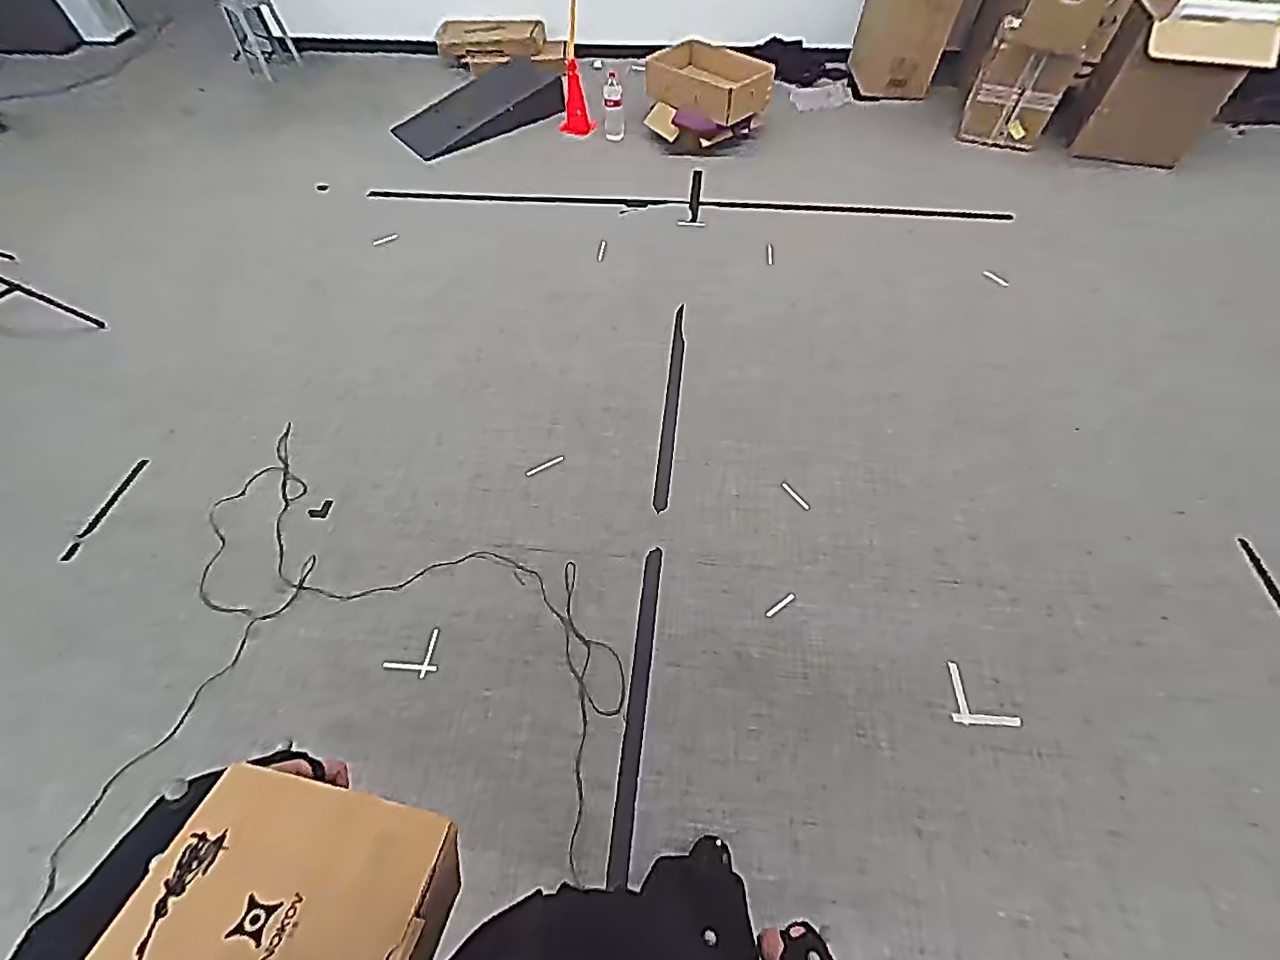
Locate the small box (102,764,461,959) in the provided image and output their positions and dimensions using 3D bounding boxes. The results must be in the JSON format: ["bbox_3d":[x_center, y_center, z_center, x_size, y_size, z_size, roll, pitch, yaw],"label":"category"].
[{"bbox_3d":[-0.248,0.347,0.400,0.179,0.176,0.168,15,39,0],"label":"small box"}]
